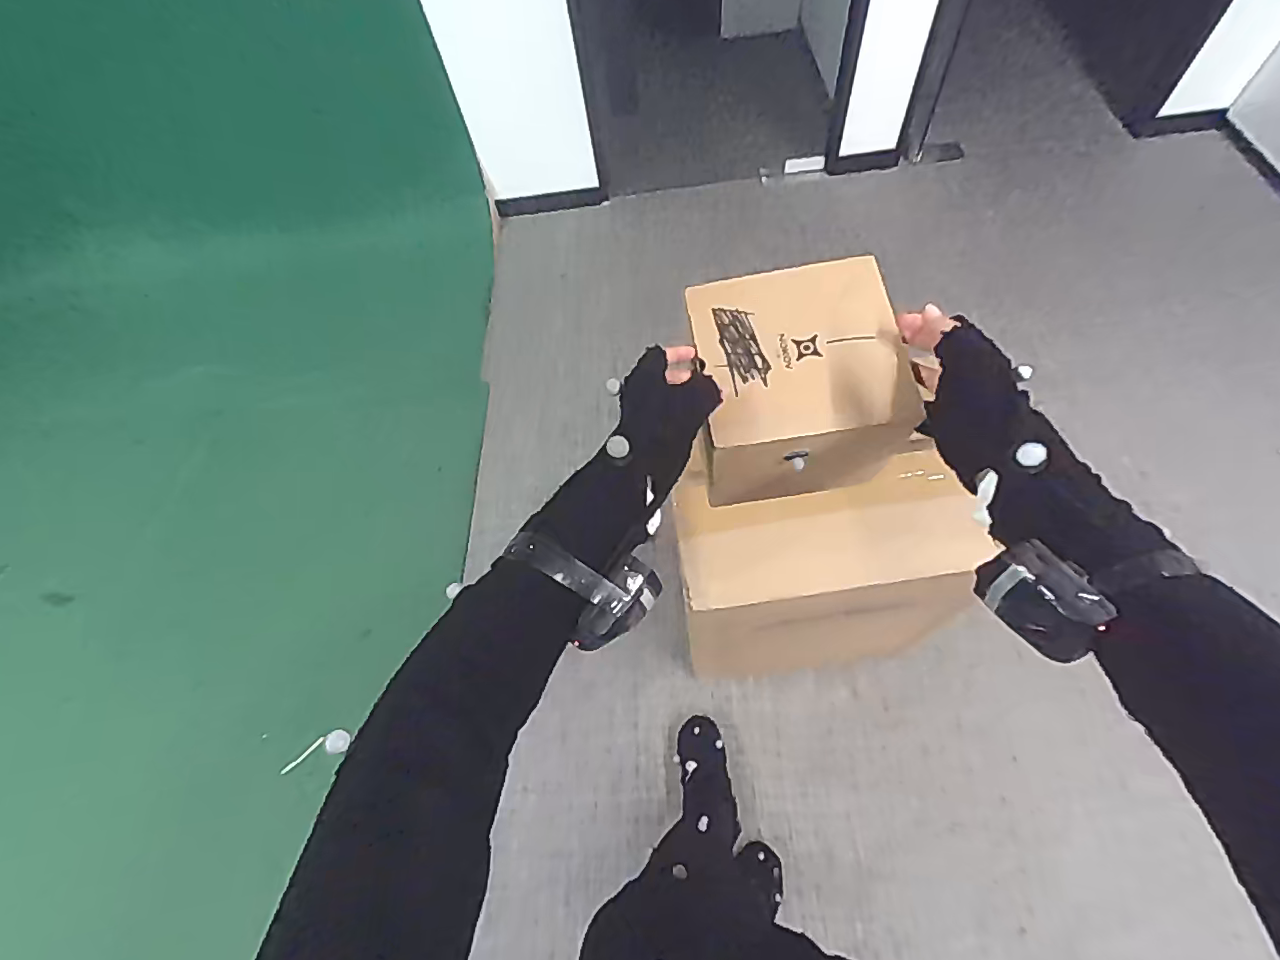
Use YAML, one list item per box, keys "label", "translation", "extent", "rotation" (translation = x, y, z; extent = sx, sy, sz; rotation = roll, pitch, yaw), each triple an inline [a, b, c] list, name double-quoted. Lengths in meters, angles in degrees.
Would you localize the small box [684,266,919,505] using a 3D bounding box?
- label: "small box"
  translation: [0.144, -0.082, 0.549]
  extent: [0.179, 0.176, 0.168]
  rotation: [-8, 70, 3]
